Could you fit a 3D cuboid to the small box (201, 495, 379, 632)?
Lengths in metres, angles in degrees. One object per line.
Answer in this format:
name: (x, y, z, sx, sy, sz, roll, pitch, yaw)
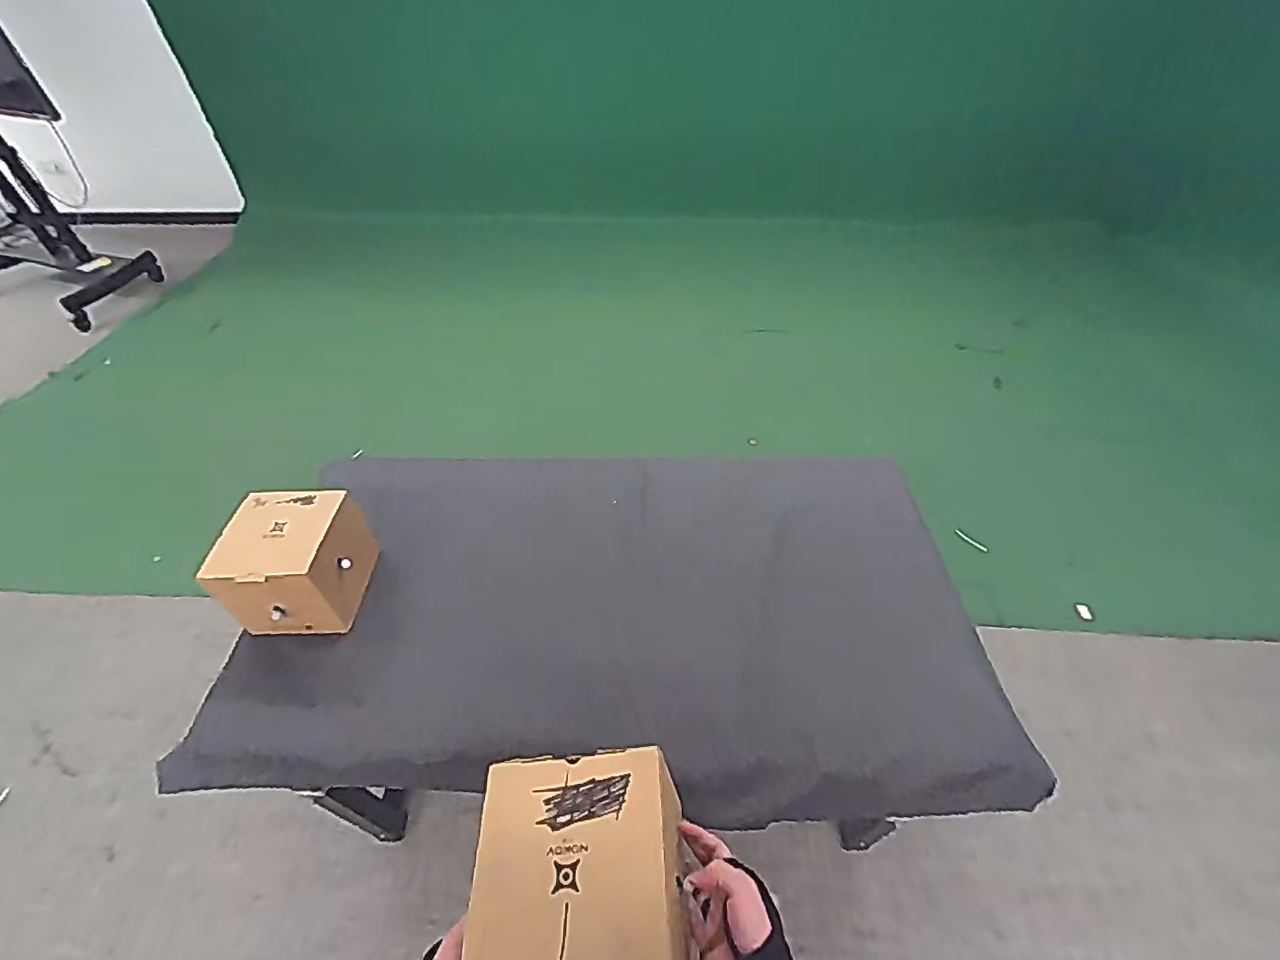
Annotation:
small box: (-0.567, 0.144, 0.910, 0.168, 0.176, 0.179, 0, 47, -1)
